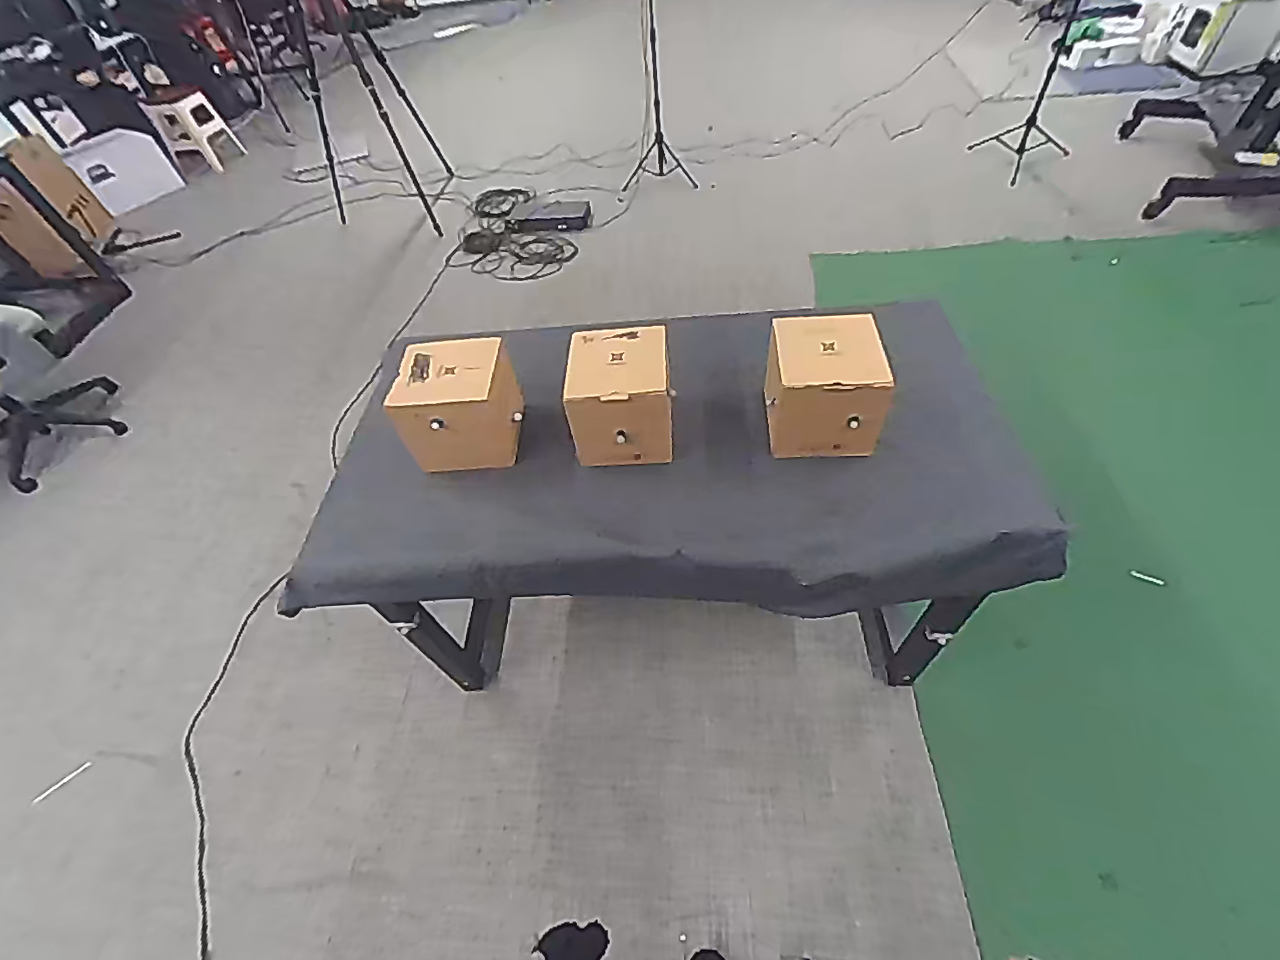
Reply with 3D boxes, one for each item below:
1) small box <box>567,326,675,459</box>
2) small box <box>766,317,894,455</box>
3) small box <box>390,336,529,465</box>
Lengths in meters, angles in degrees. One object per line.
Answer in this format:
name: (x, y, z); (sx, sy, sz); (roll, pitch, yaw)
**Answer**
small box: (-0.025, -0.148, 0.961); (0.168, 0.176, 0.179); (-2, 52, 5)
small box: (0.313, -0.156, 0.927); (0.168, 0.176, 0.179); (0, 50, 6)
small box: (-0.316, -0.140, 0.988); (0.179, 0.176, 0.168); (-3, 52, 3)
